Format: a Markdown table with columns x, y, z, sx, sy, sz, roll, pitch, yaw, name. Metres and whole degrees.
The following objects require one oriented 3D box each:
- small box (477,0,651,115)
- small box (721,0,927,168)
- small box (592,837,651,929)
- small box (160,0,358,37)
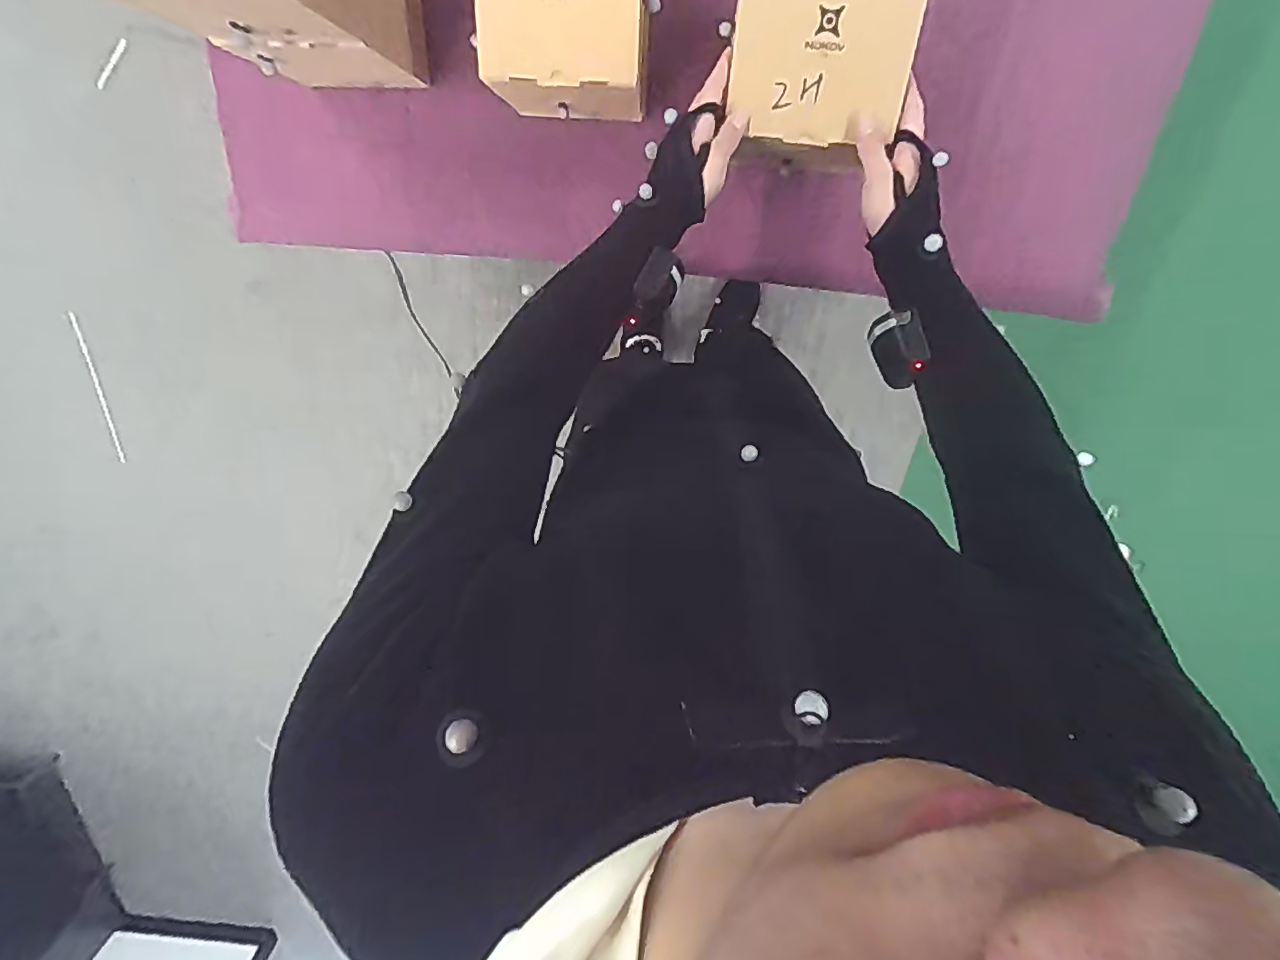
| x | y | z | sx | sy | sz | roll | pitch | yaw | name |
| --- | --- | --- | --- | --- | --- | --- | --- | --- | --- |
| -0.074 | -0.523 | 0.590 | 0.168 | 0.176 | 0.179 | 4 | 115 | 1 | small box |
| 0.179 | -0.445 | 0.565 | 0.168 | 0.176 | 0.179 | 8 | 114 | 3 | small box |
| -0.057 | 1.310 | 1.761 | 0.168 | 0.176 | 0.179 | 8 | 115 | -1 | small box |
| -0.358 | -0.496 | 0.433 | 0.168 | 0.176 | 0.179 | 3 | 115 | 1 | small box |
